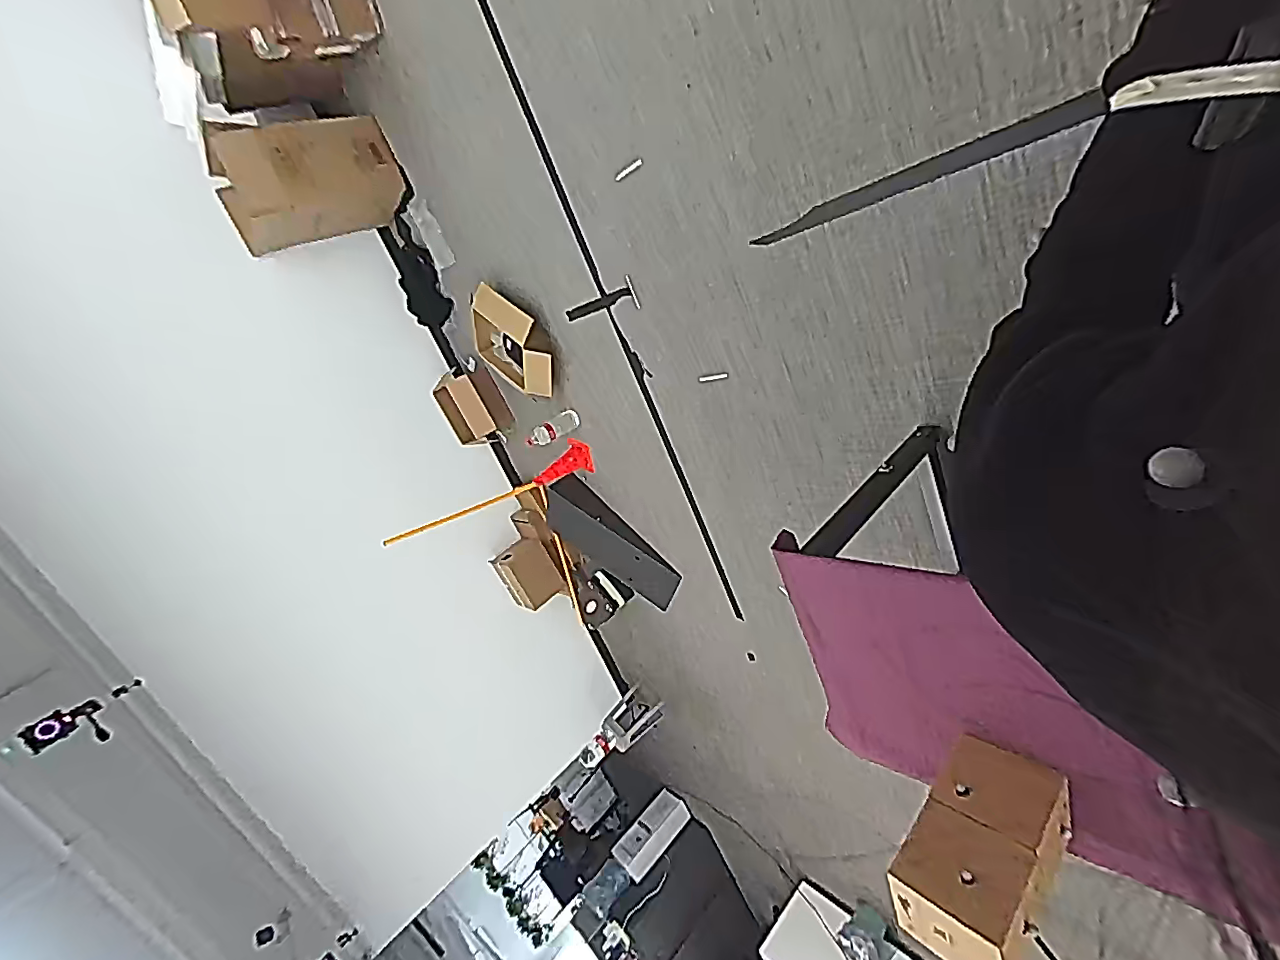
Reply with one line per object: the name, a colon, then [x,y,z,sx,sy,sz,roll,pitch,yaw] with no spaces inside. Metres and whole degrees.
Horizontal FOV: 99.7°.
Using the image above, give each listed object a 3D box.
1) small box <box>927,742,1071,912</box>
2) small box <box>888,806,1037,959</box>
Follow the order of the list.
small box: [0.669,0.628,1.007,0.179,0.176,0.168,7,124,51]
small box: [0.554,0.708,0.921,0.179,0.176,0.168,8,125,50]
